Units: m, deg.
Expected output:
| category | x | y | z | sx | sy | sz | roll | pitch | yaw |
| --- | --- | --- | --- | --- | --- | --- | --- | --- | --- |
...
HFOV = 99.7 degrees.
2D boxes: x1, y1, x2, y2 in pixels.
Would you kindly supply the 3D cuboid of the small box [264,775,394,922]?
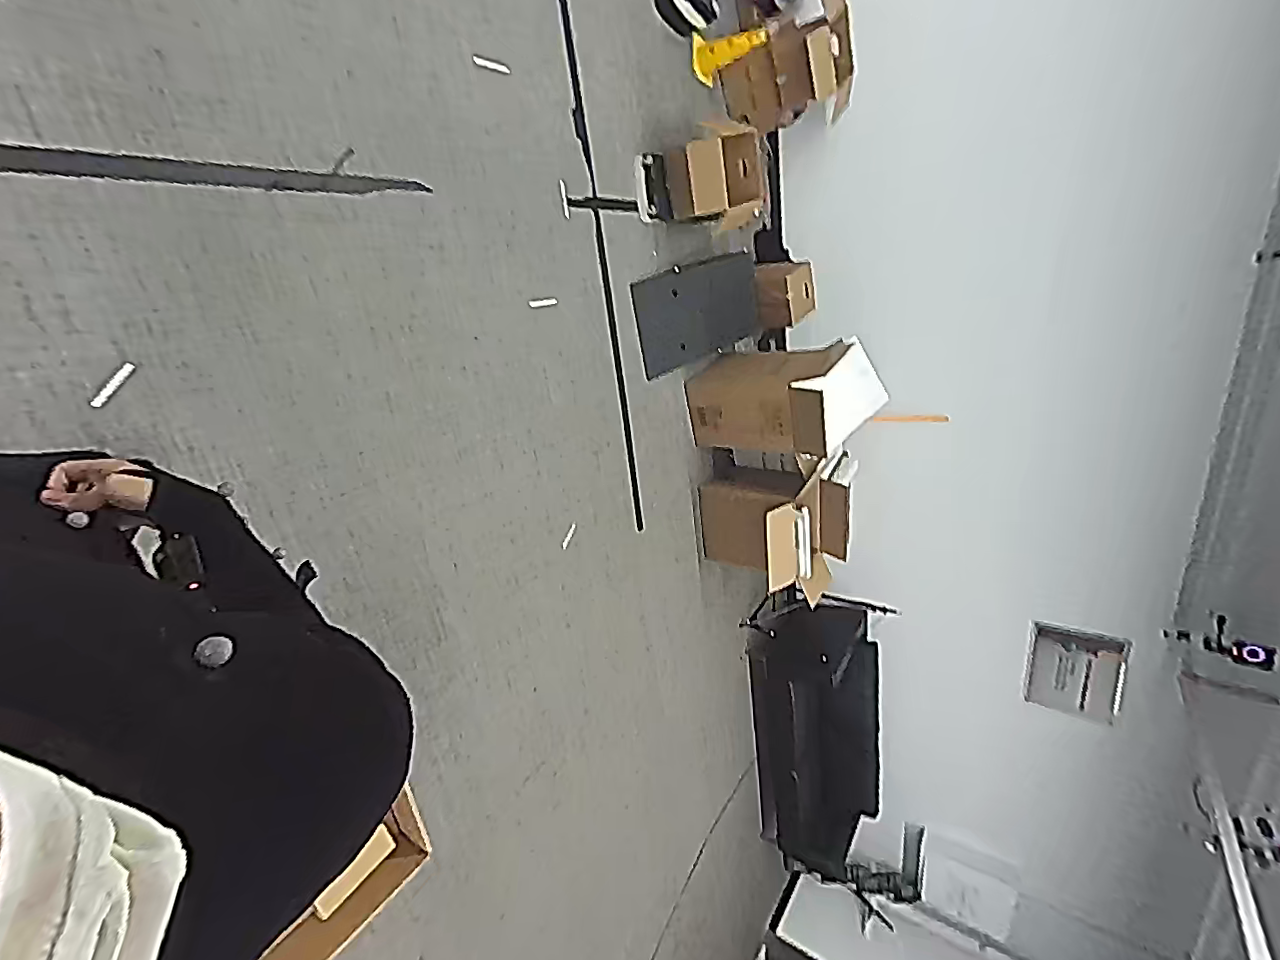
| category | x | y | z | sx | sy | sz | roll | pitch | yaw |
| --- | --- | --- | --- | --- | --- | --- | --- | --- | --- |
| small box | -0.693 | 0.806 | 1.198 | 0.179 | 0.176 | 0.168 | -38 | 126 | -46 |
